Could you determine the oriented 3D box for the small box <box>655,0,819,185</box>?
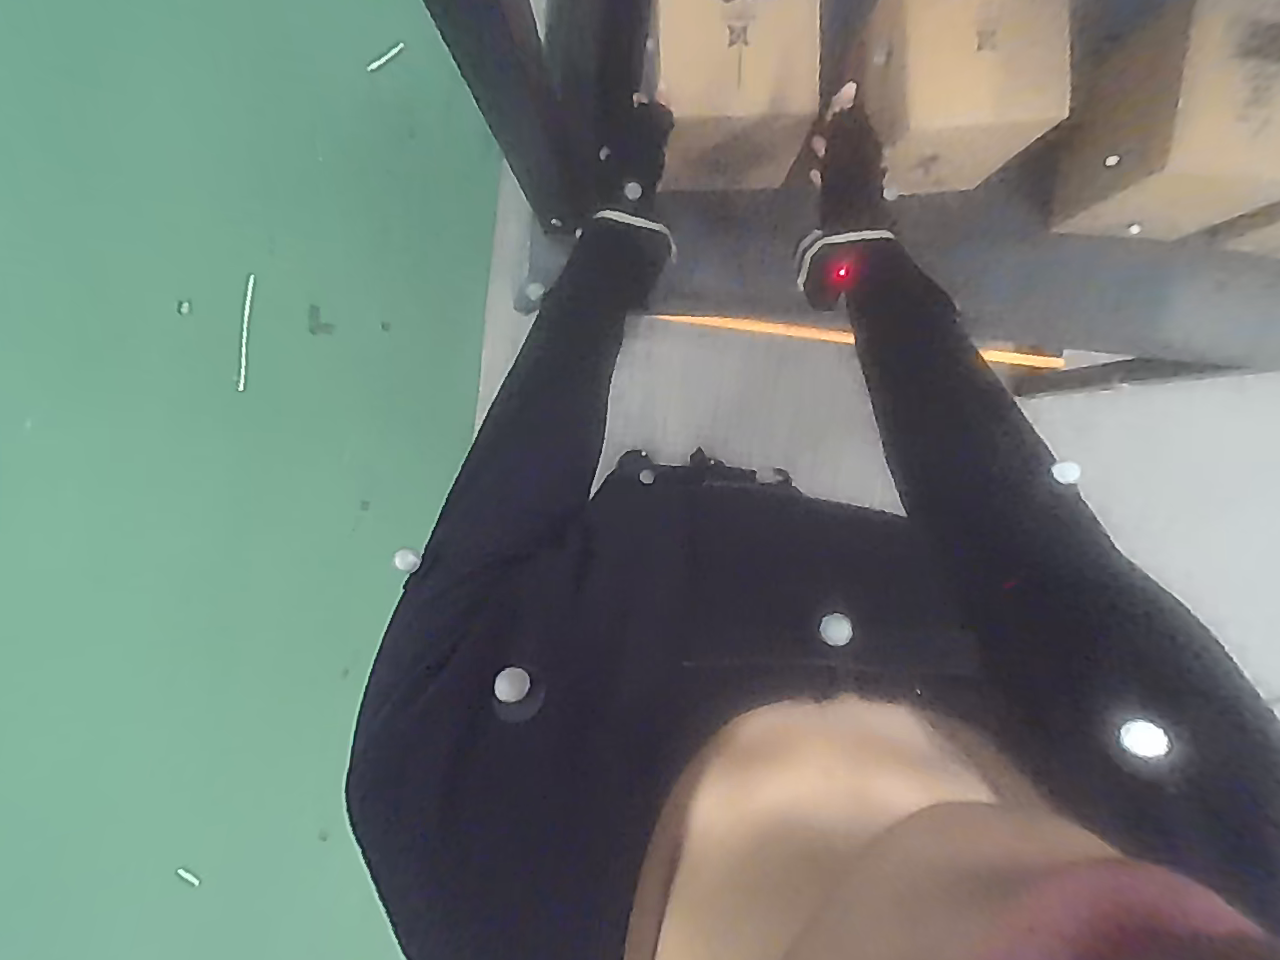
[{"bbox_3d":[0.102,-0.475,0.632,0.168,0.176,0.179,-1,95,2],"label":"small box"}]
